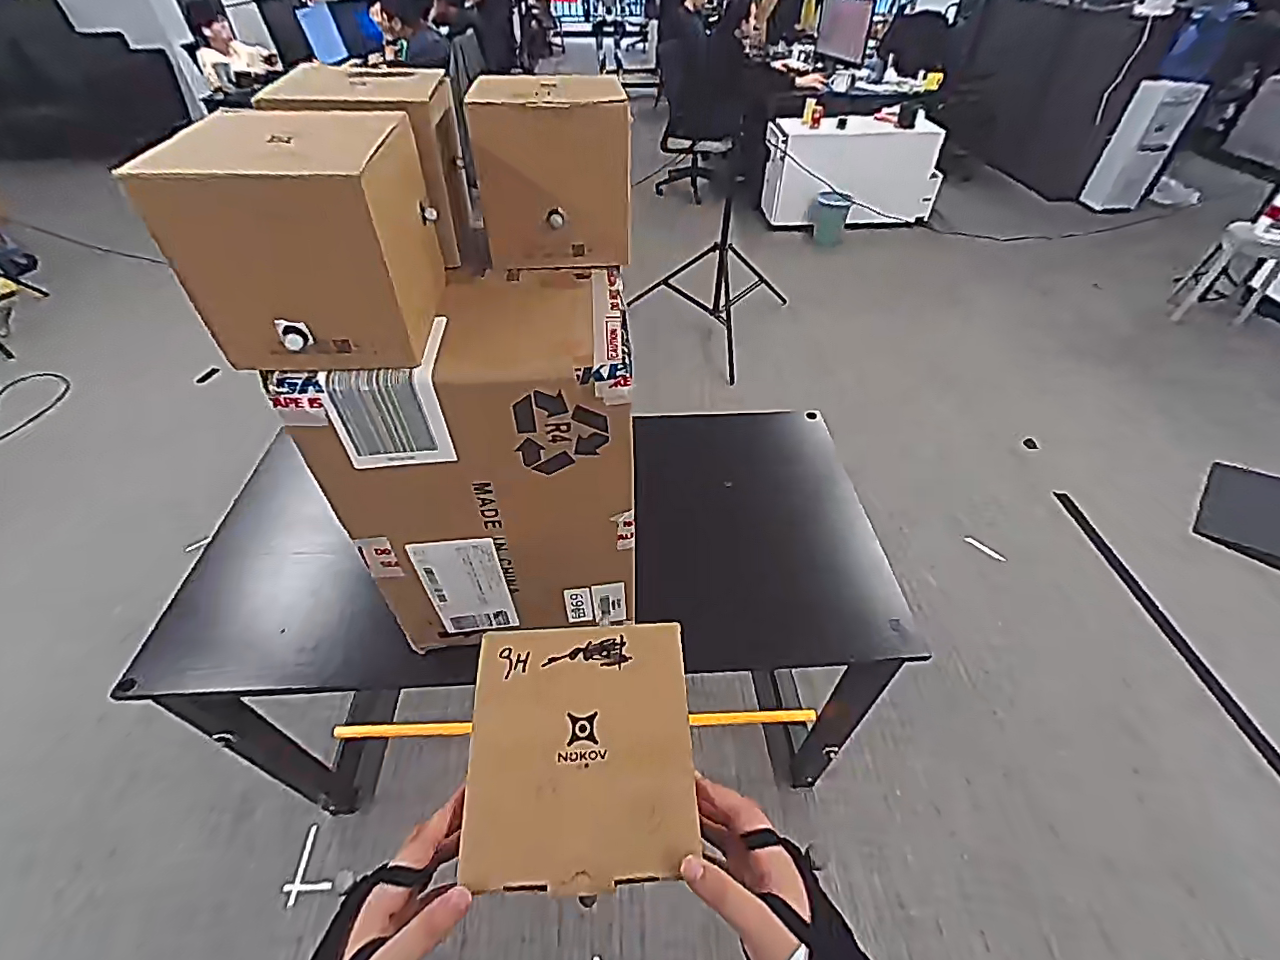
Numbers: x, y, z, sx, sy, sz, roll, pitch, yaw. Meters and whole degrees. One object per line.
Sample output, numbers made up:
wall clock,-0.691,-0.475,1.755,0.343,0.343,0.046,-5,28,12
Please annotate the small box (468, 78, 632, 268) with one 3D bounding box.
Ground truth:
small box,-0.099,-0.371,0.654,0.168,0.176,0.179,-4,44,-5

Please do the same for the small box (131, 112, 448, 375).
small box,-0.283,-0.215,0.494,0.168,0.176,0.179,-4,48,-5
